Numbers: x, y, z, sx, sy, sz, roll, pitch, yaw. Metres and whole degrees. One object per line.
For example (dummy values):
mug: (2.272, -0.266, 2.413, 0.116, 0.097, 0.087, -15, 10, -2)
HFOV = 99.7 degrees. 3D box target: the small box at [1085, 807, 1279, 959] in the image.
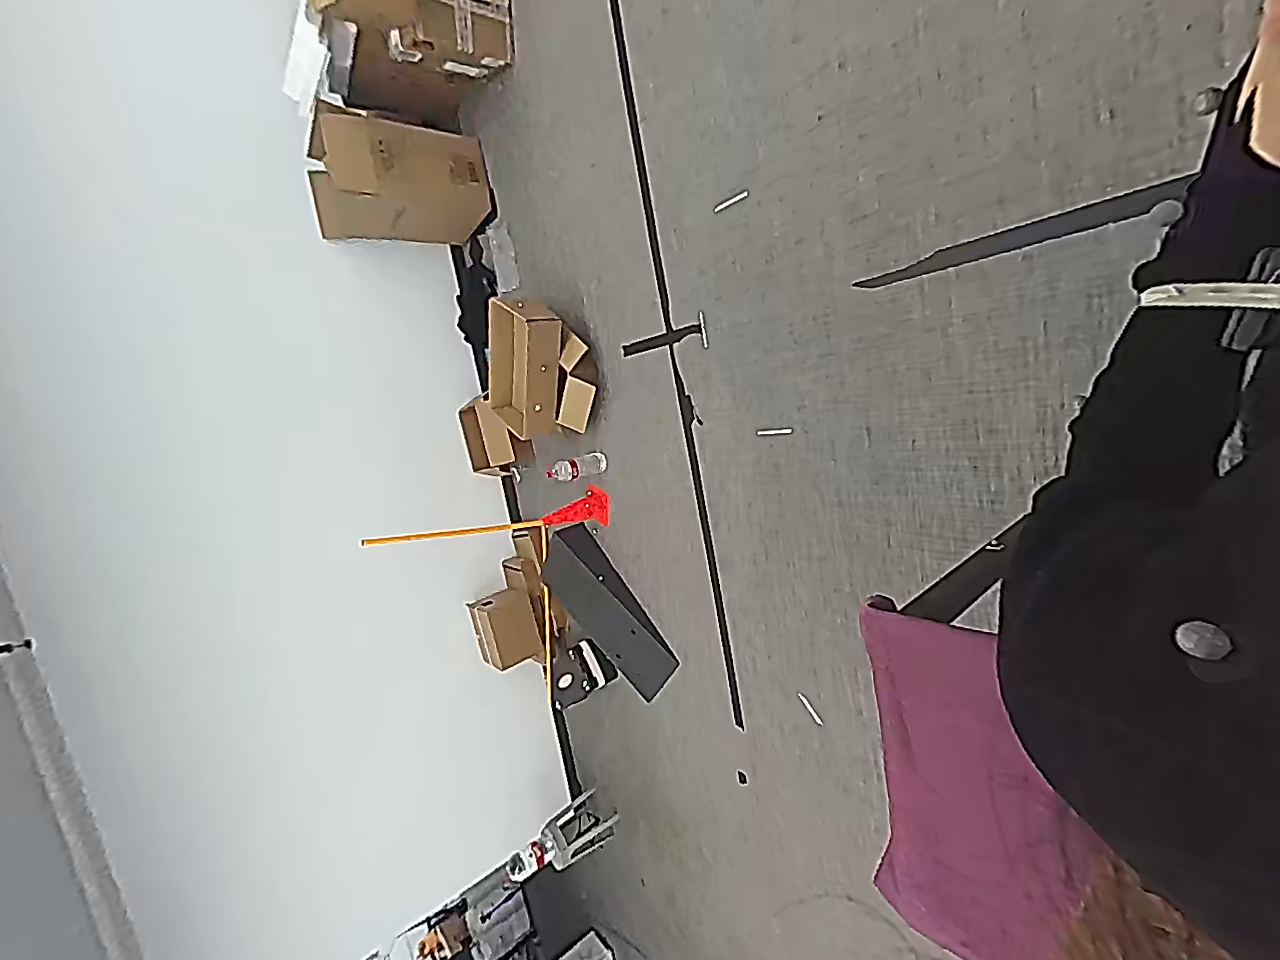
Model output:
small box: (0.624, 0.501, 0.589, 0.179, 0.176, 0.168, -1, 103, 53)
